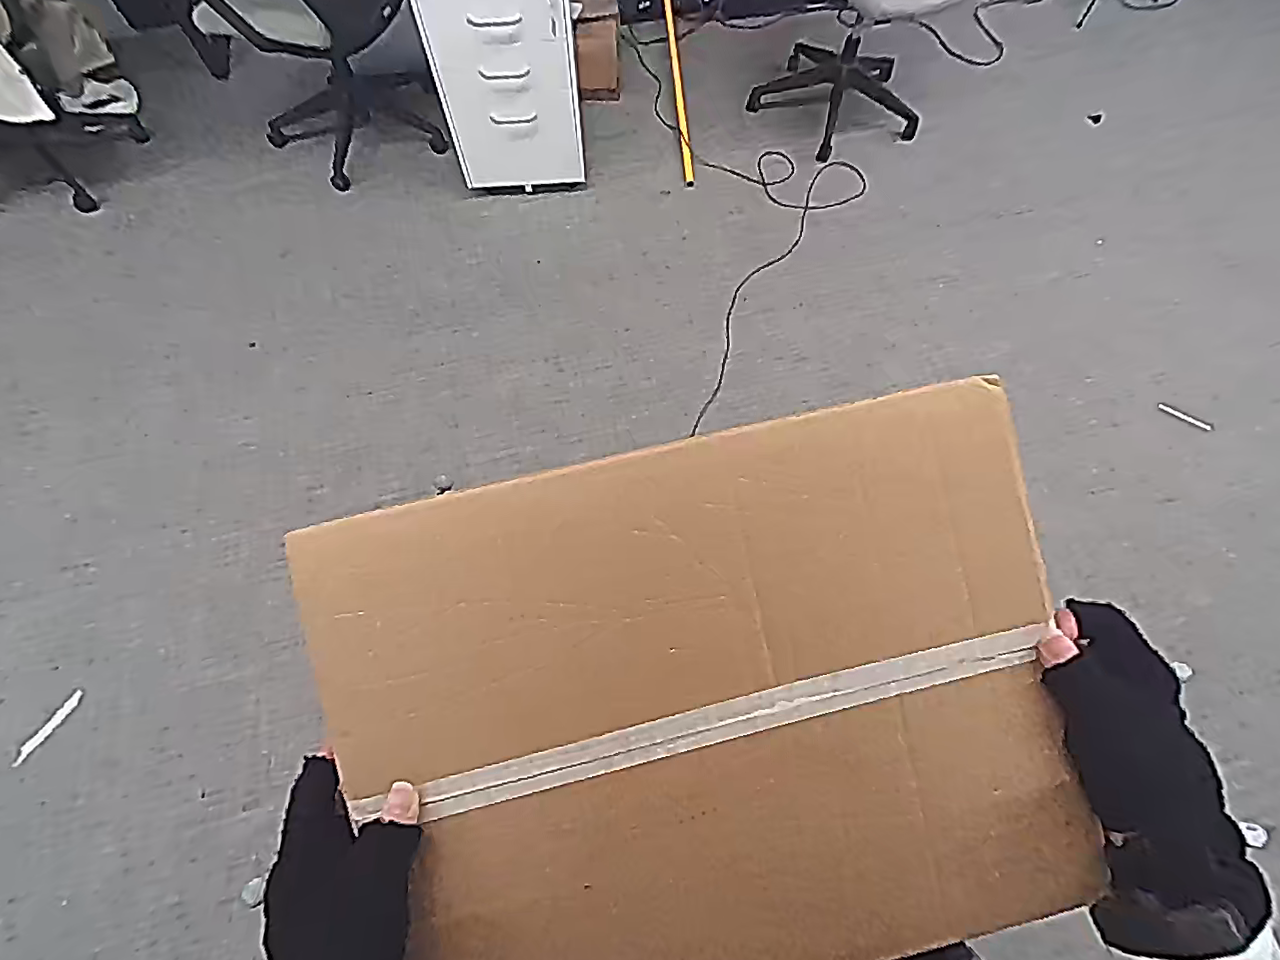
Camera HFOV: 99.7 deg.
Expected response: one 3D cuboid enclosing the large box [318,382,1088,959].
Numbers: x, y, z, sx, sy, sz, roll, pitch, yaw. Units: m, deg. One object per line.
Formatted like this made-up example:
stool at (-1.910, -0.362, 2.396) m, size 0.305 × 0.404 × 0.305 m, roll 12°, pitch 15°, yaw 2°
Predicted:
large box at (0.035, 0.137, 0.462) m, size 0.408 × 0.320 × 0.320 m, roll -13°, pitch 91°, yaw -3°
